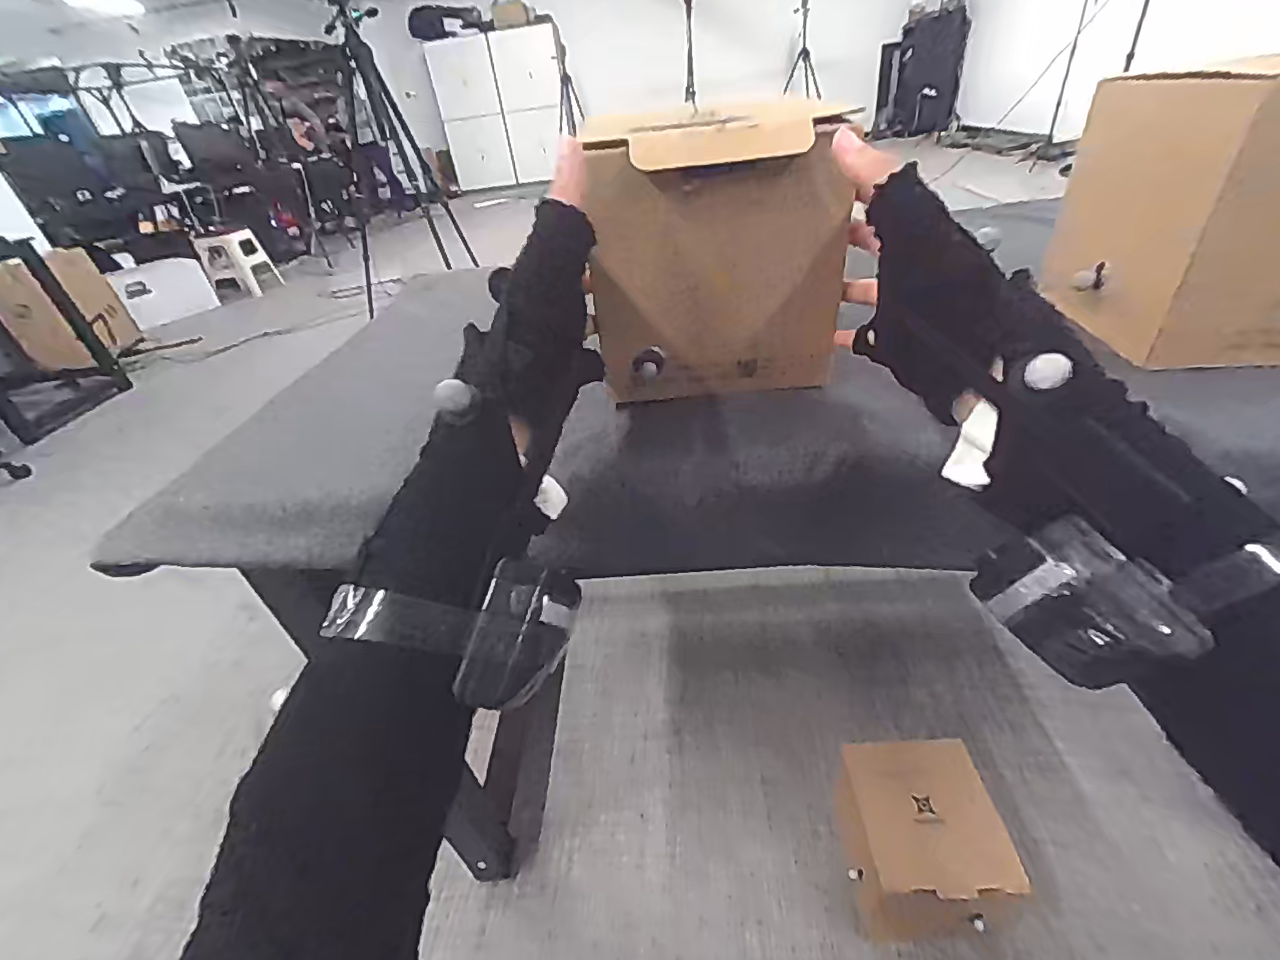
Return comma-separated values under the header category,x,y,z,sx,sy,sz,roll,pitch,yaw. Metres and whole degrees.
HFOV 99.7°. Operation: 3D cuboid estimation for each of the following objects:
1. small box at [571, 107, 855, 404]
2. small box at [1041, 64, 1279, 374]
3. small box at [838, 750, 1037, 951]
category,x,y,z,sx,sy,sz,roll,pitch,yaw
small box,0.049,-0.169,0.418,0.168,0.176,0.179,-5,38,3
small box,0.424,-0.181,0.377,0.168,0.176,0.179,-1,35,12
small box,0.371,0.488,0.713,0.168,0.176,0.179,-5,33,5
